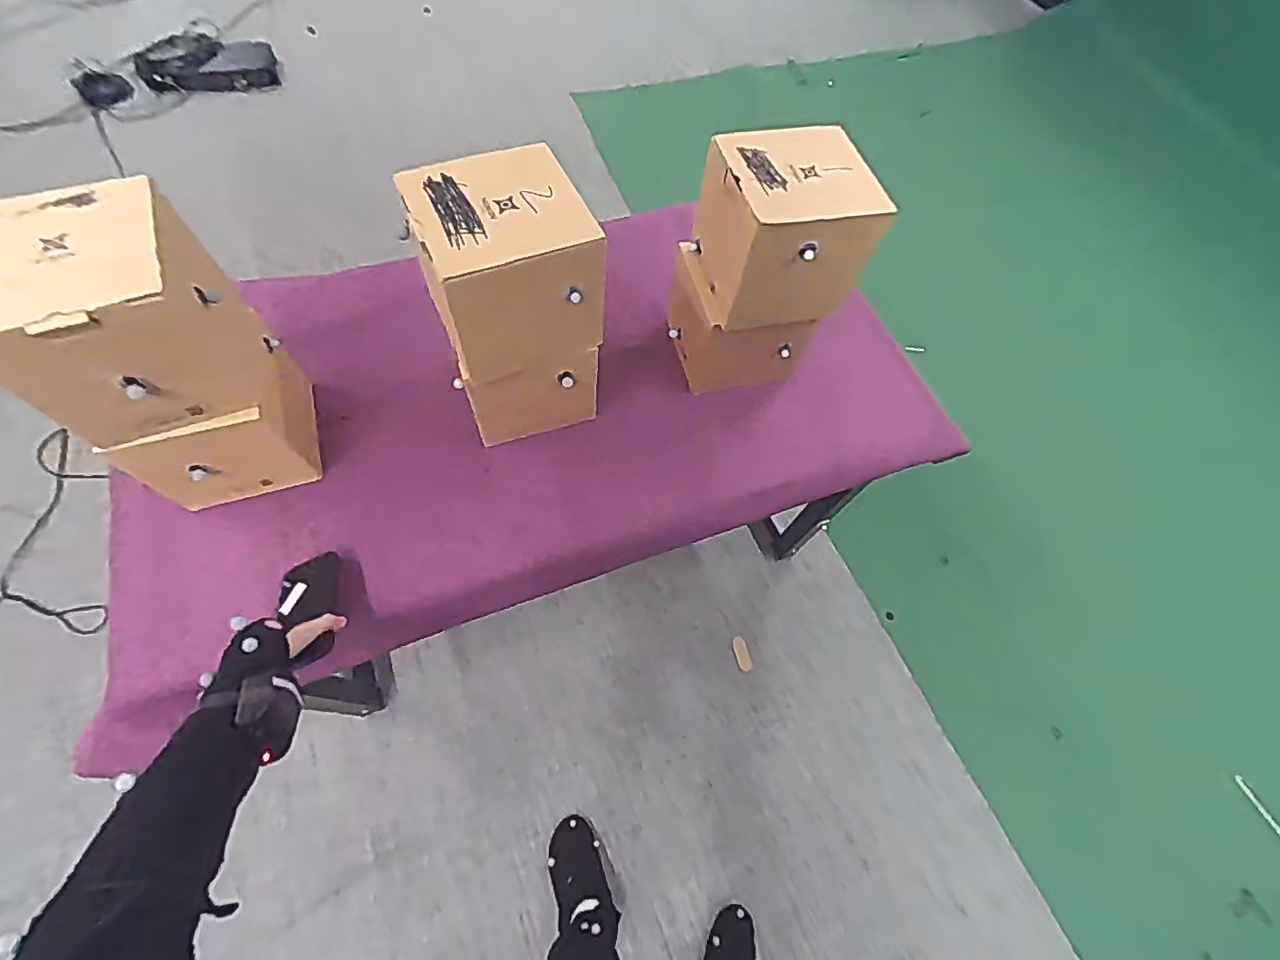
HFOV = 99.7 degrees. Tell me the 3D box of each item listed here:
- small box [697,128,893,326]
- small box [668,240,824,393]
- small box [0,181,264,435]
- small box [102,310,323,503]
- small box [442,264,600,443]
[{"bbox_3d":[0.182,-0.322,0.706,0.179,0.176,0.168,-11,65,-11],"label":"small box"},{"bbox_3d":[0.155,-0.259,0.856,0.179,0.176,0.168,-11,64,-10],"label":"small box"},{"bbox_3d":[-0.529,-0.166,0.563,0.168,0.176,0.179,-21,68,-15],"label":"small box"},{"bbox_3d":[-0.539,-0.086,0.706,0.168,0.176,0.179,-16,66,-13],"label":"small box"},{"bbox_3d":[-0.167,-0.177,0.784,0.179,0.176,0.168,-17,66,-13],"label":"small box"}]
